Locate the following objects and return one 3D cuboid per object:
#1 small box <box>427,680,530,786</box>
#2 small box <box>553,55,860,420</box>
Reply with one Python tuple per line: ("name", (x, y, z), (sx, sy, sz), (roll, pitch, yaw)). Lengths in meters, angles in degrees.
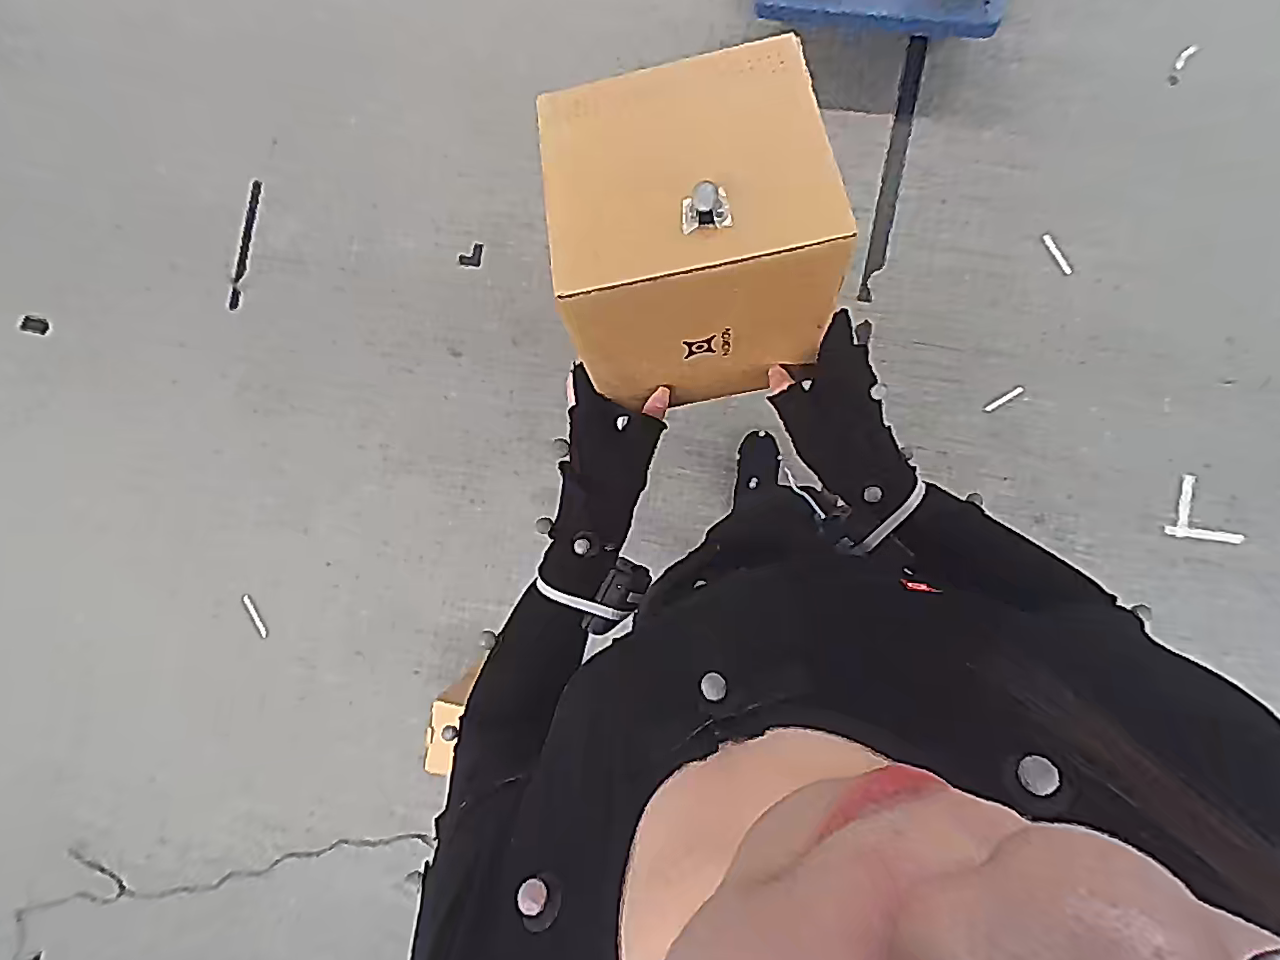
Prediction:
("small box", (-0.387, 0.604, 1.316), (0.179, 0.176, 0.168), (8, 91, 7))
("small box", (0.038, -0.168, 0.409), (0.179, 0.168, 0.176), (-10, 70, 5))
